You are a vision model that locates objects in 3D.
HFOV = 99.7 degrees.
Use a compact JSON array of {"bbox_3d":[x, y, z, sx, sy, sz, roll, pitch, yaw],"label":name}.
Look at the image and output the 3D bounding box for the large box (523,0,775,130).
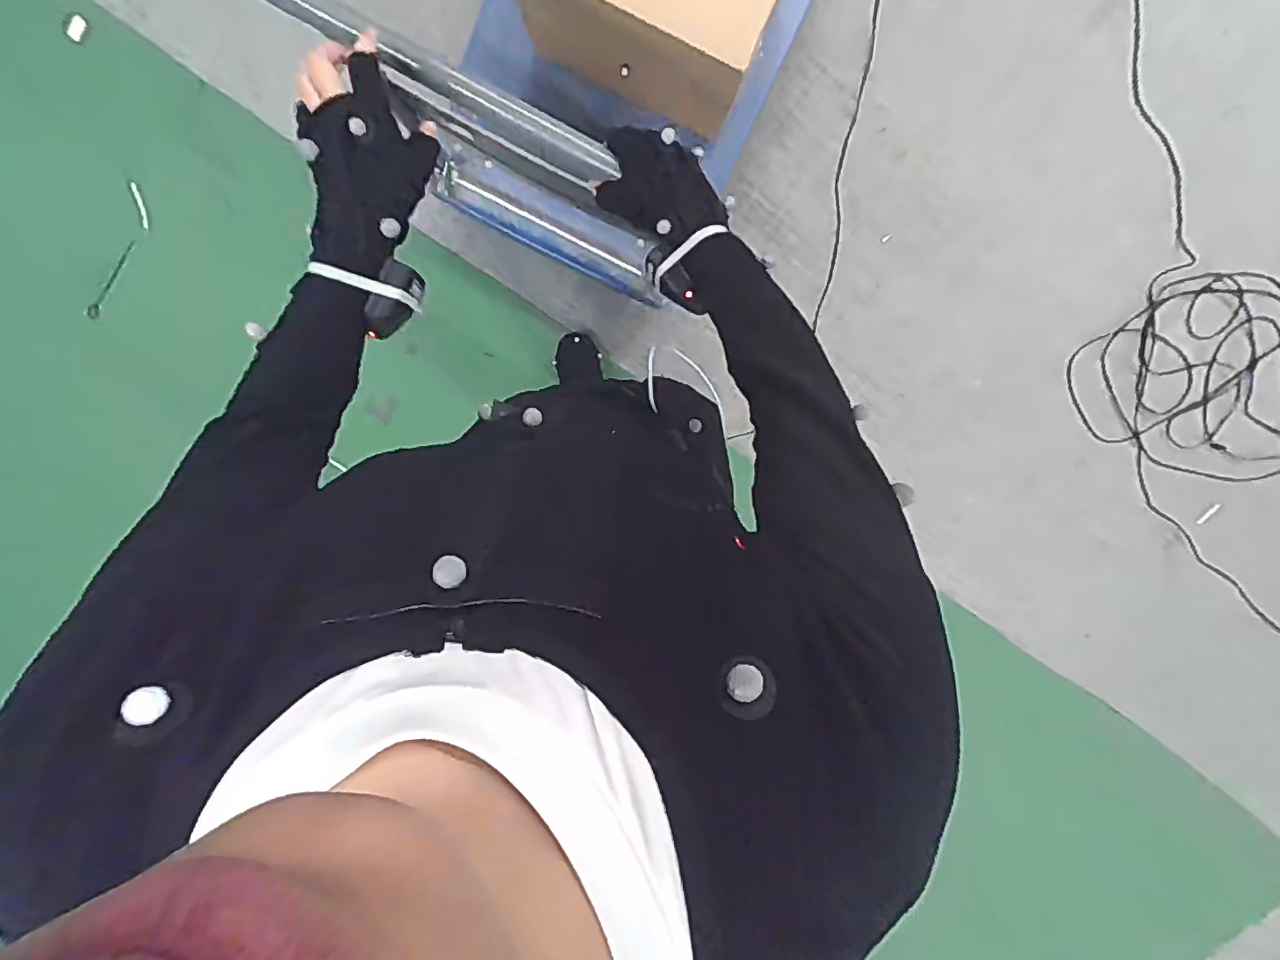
[{"bbox_3d":[0.039,-0.884,0.919,0.408,0.320,0.320,23,103,-6],"label":"large box"}]
